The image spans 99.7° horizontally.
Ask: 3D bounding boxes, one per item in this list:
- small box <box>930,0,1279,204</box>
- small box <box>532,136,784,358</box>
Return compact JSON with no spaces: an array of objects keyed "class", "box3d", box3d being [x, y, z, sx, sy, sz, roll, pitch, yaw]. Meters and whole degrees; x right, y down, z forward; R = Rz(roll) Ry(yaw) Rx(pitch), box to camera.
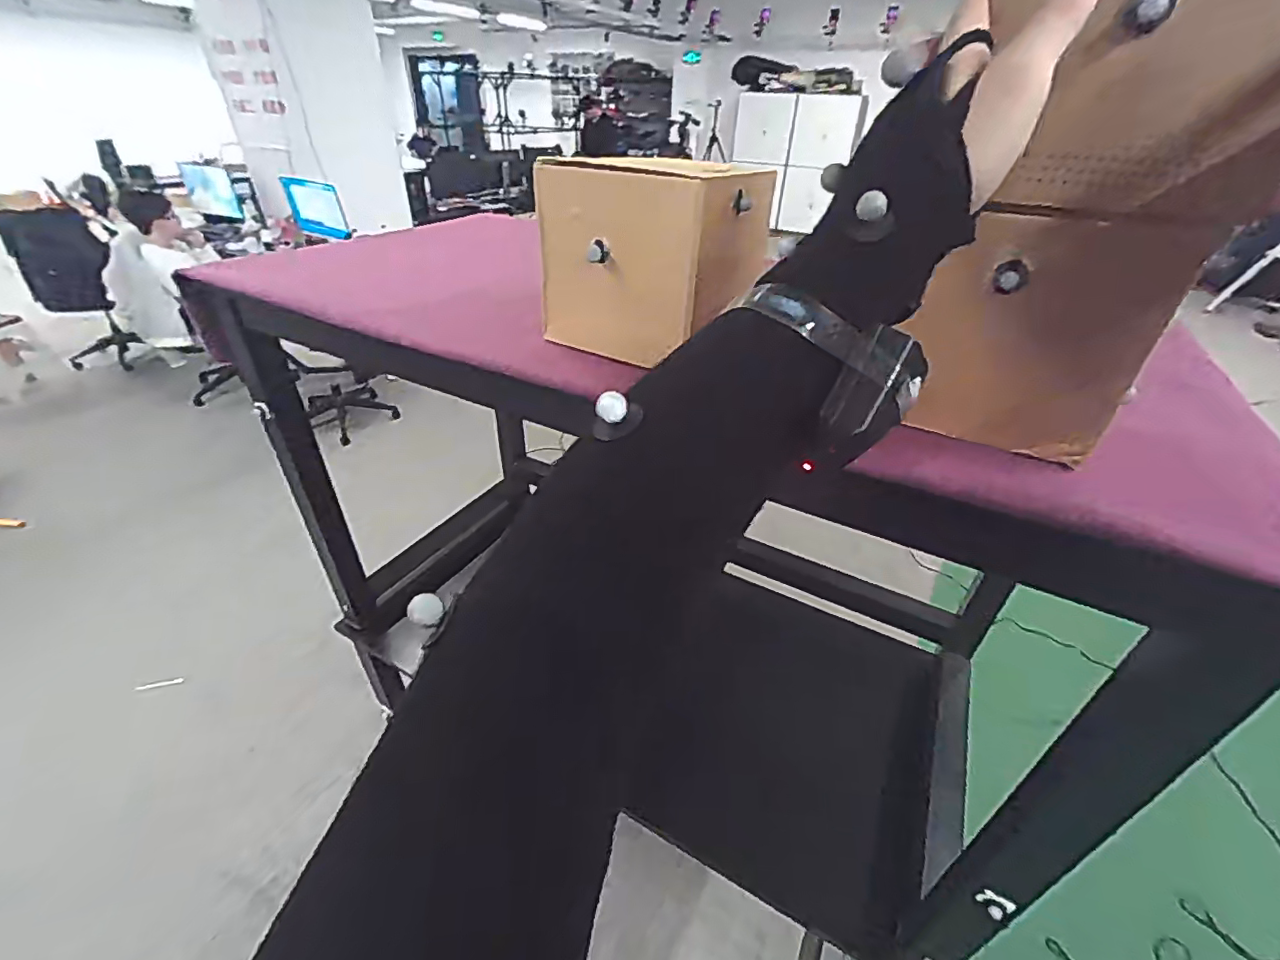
[{"class":"small box","box3d":[0.294,-0.269,0.306,0.179,0.176,0.168,19,45,21]},{"class":"small box","box3d":[0.016,-0.233,0.530,0.179,0.176,0.168,22,39,25]}]
